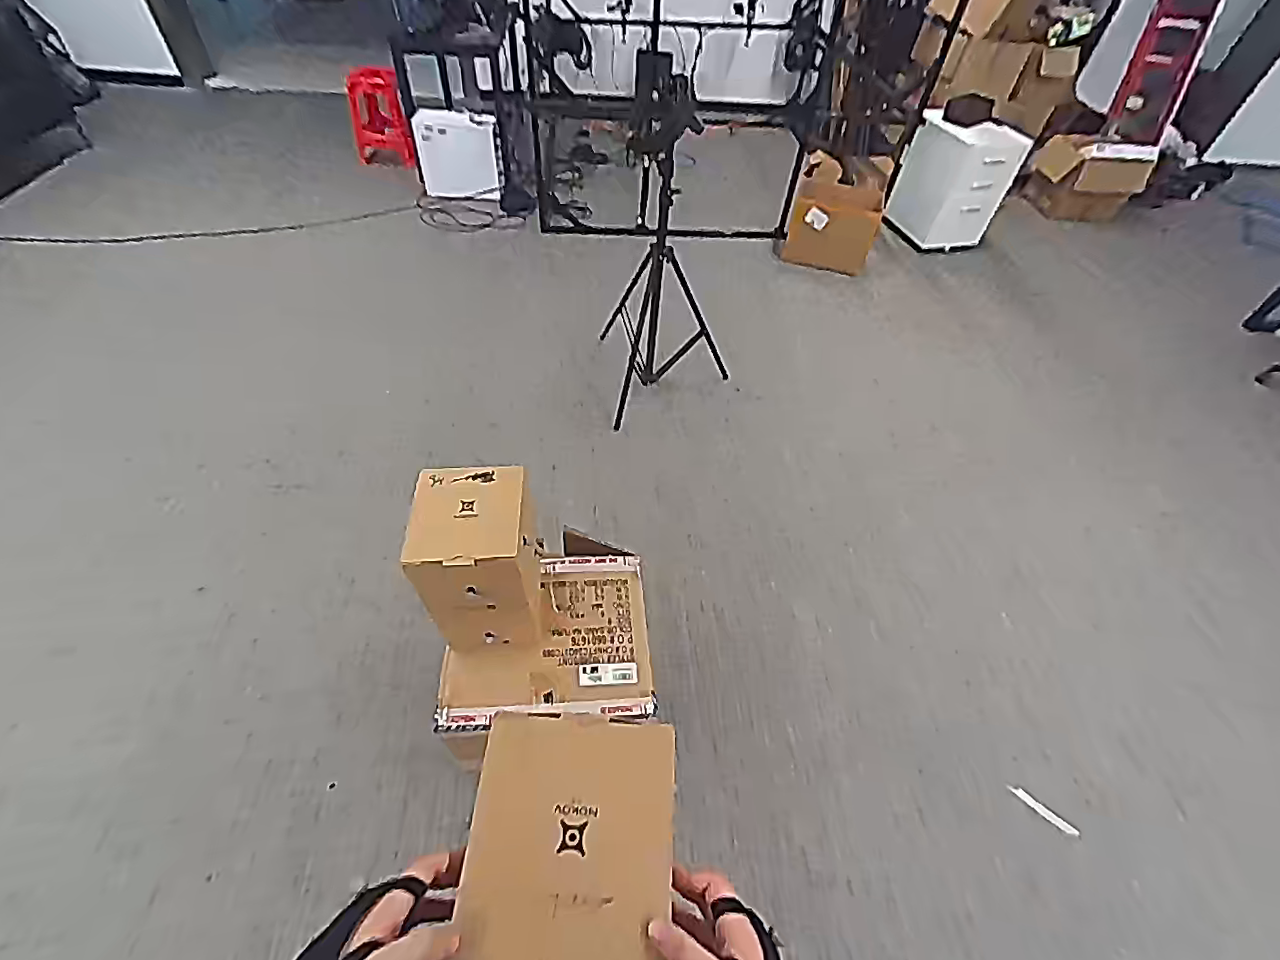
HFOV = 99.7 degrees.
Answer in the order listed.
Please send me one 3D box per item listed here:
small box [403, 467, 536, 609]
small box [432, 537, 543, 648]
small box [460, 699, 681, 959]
[{"bbox_3d":[-0.263,0.100,0.881,0.168,0.176,0.179,-3,52,-4],"label":"small box"},{"bbox_3d":[-0.274,0.196,1.014,0.168,0.176,0.179,-4,52,-5],"label":"small box"},{"bbox_3d":[-0.055,0.323,0.514,0.168,0.176,0.179,5,56,-2],"label":"small box"}]
